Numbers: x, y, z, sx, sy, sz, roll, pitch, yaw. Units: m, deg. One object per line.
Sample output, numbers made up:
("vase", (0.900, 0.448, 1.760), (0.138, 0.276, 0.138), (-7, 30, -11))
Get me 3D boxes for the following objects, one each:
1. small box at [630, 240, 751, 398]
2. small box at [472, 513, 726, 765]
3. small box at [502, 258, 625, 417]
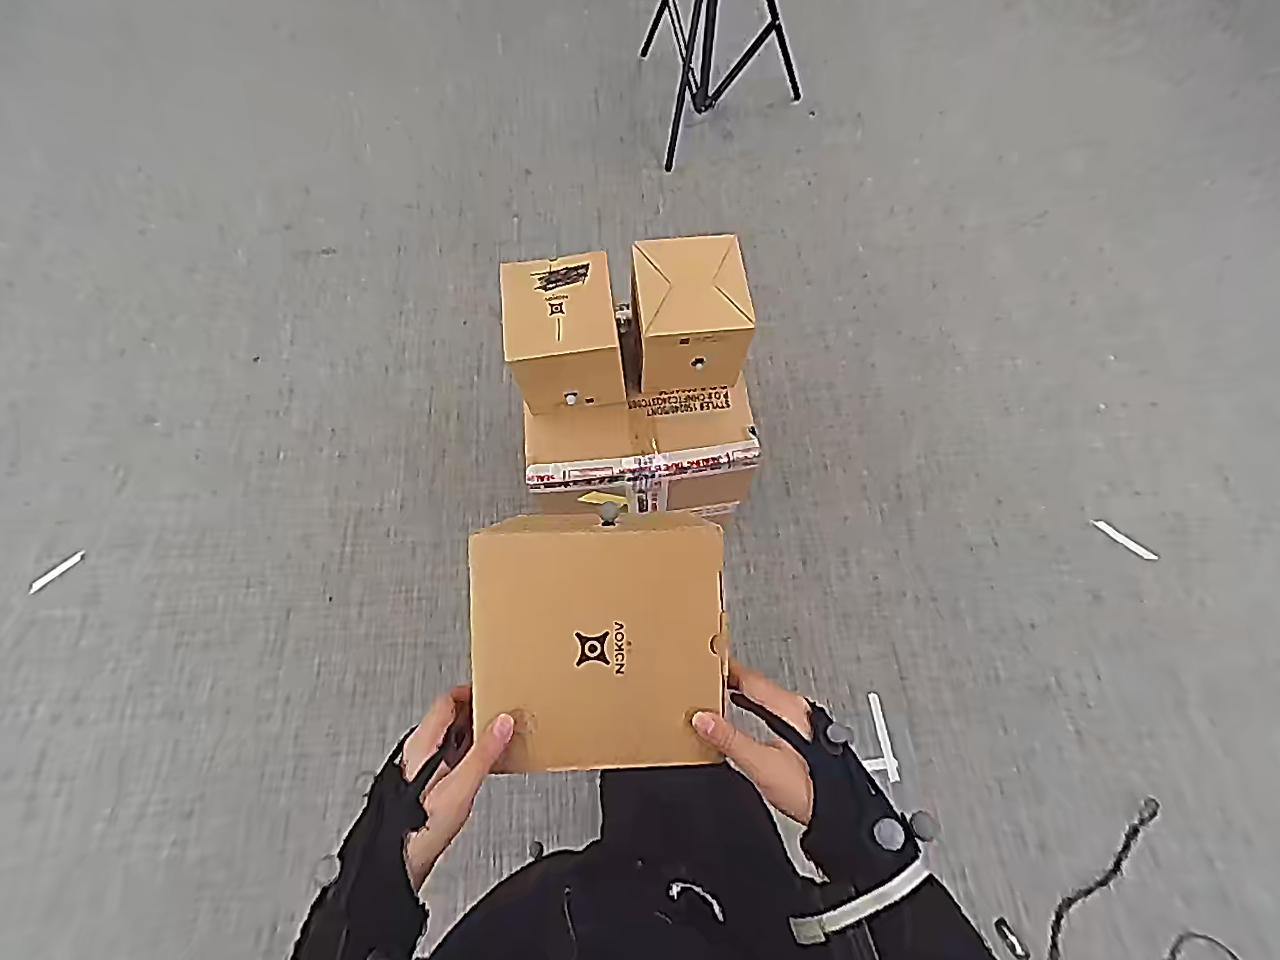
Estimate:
("small box", (0.075, -0.256, 0.880), (0.168, 0.176, 0.179), (-6, 70, -5))
("small box", (-0.032, 0.114, 0.454), (0.179, 0.176, 0.168), (-1, 89, -4))
("small box", (-0.118, -0.222, 0.872), (0.168, 0.176, 0.179), (-8, 70, 0))
